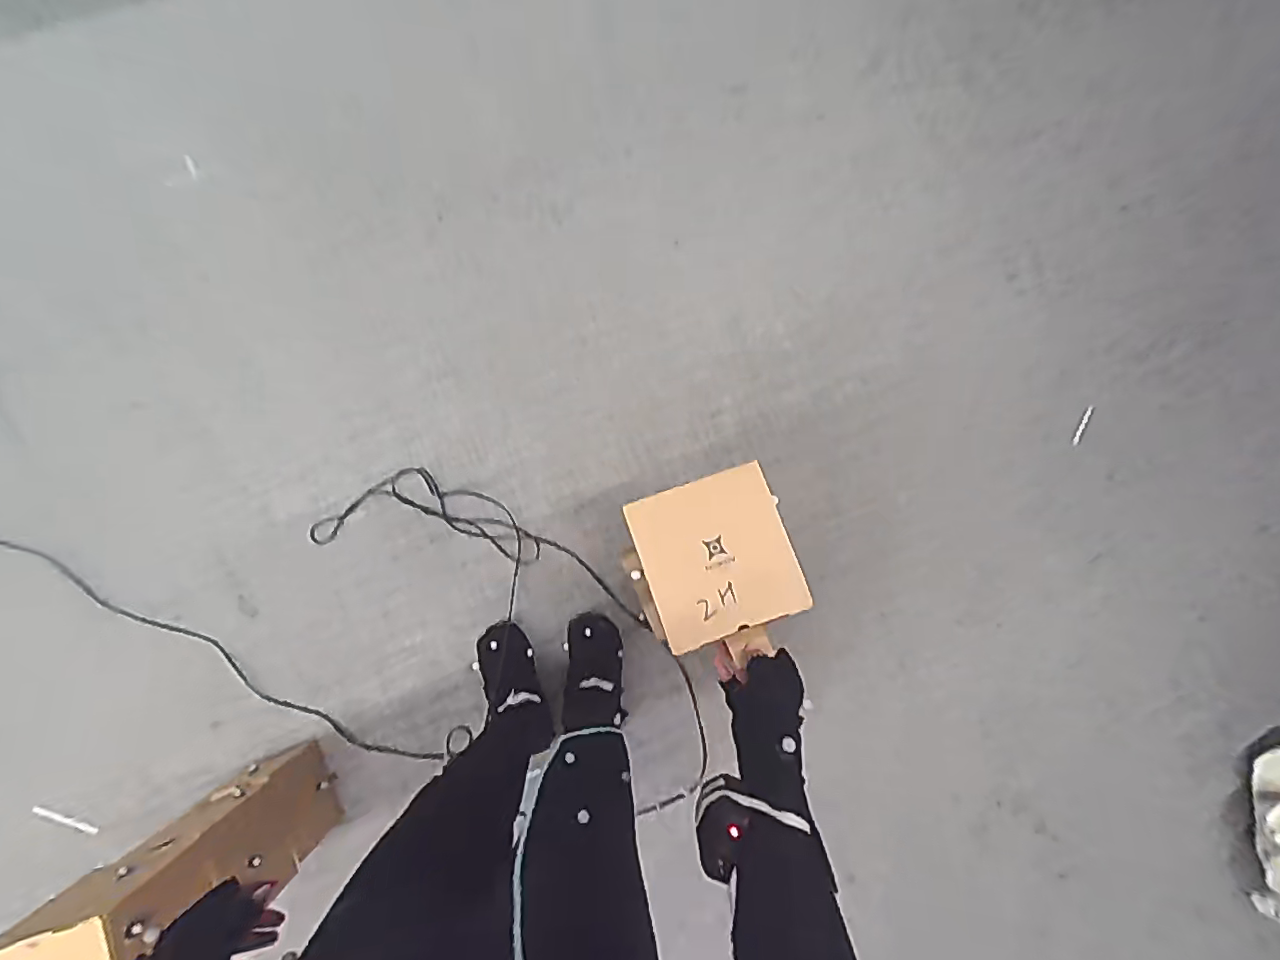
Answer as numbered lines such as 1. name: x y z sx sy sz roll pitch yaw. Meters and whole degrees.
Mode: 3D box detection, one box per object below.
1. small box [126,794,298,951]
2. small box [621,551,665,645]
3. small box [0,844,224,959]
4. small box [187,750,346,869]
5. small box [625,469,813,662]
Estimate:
1. small box: -0.720 0.663 0.904 0.168 0.176 0.179 -20 89 -4
2. small box: 0.068 0.218 1.144 0.168 0.176 0.179 -25 88 -5
3. small box: -0.719 0.654 0.742 0.168 0.176 0.179 -15 87 -4
4. small box: -0.727 0.667 1.071 0.168 0.176 0.179 -24 86 -1
5. small box: 0.085 0.106 0.673 0.168 0.176 0.179 -19 80 -2
